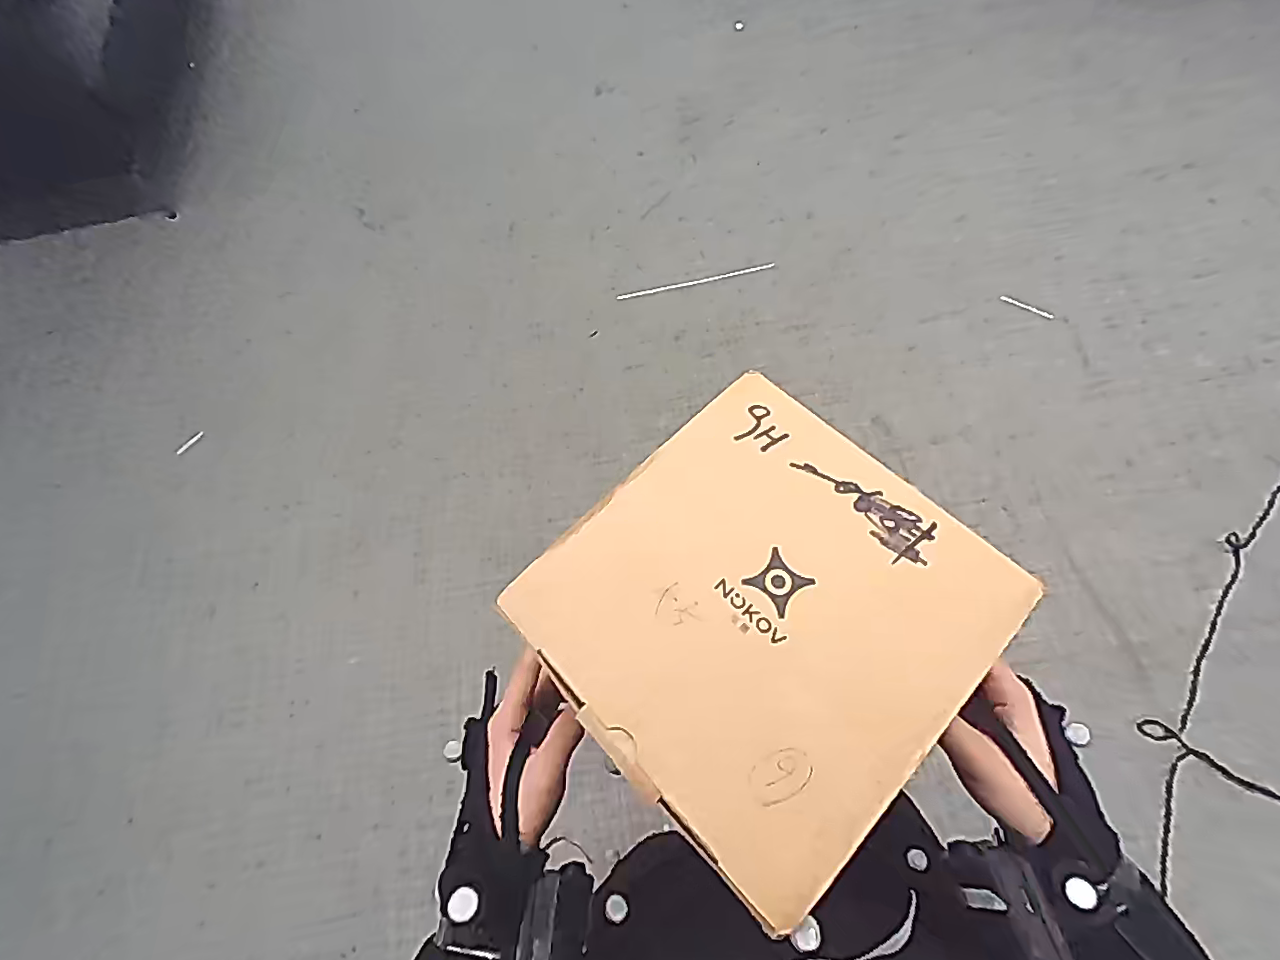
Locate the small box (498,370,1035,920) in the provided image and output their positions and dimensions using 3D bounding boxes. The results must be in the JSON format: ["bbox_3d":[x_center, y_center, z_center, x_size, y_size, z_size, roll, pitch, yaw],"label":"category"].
[{"bbox_3d":[0.058,0.082,0.307,0.179,0.176,0.168,-42,69,-14],"label":"small box"}]
